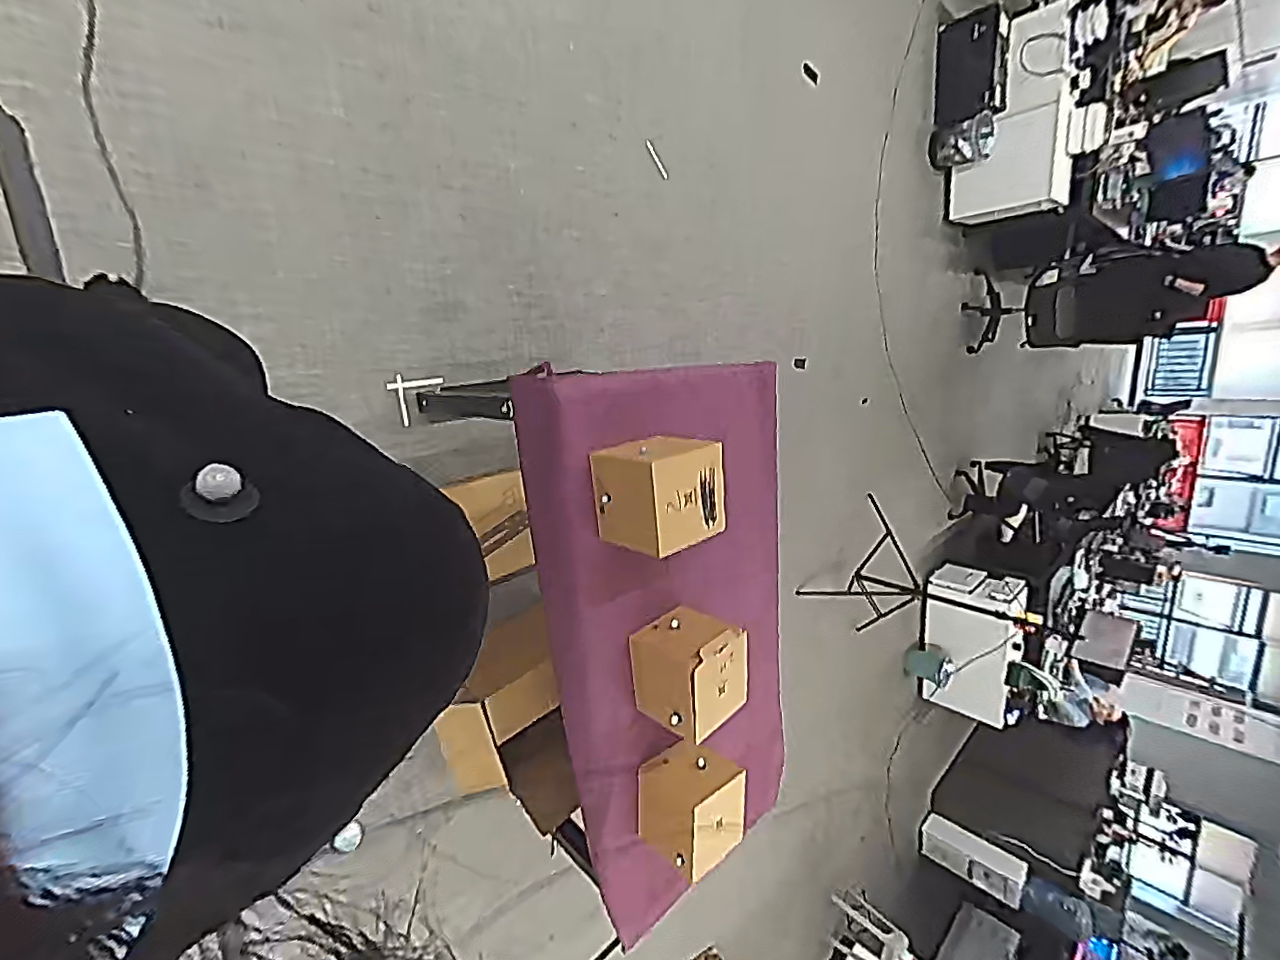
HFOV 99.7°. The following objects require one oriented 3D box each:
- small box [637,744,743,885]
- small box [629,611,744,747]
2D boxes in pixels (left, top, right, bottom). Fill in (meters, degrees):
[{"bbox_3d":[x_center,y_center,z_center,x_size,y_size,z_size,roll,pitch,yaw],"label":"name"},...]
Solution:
[{"bbox_3d":[0.105,0.707,1.174,0.168,0.176,0.179,-9,104,-42],"label":"small box"},{"bbox_3d":[0.095,0.396,1.108,0.168,0.176,0.179,-19,110,-42],"label":"small box"}]
